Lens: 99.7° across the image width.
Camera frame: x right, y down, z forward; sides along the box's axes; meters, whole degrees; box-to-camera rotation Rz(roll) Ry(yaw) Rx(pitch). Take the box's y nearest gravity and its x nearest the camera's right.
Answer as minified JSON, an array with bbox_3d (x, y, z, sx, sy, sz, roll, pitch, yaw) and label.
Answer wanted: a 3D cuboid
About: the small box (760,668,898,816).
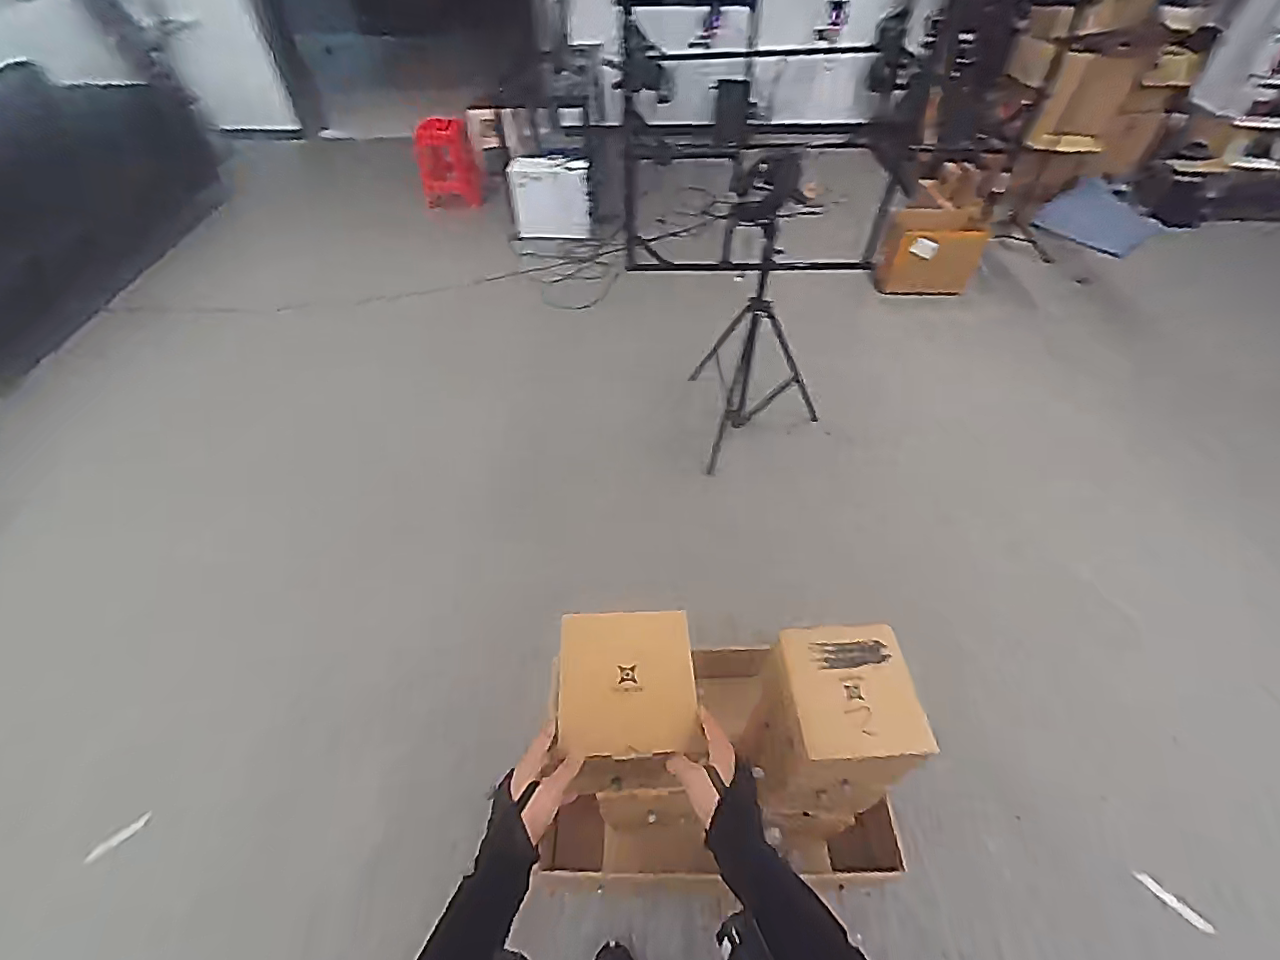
[{"bbox_3d":[0.300,0.438,0.904,0.168,0.176,0.179,2,48,3],"label":"small box"}]

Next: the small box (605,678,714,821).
[{"bbox_3d":[0.022,0.448,0.904,0.168,0.176,0.179,-3,49,-3],"label":"small box"}]

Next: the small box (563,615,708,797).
[{"bbox_3d":[-0.016,0.295,0.709,0.168,0.176,0.179,-1,50,-6],"label":"small box"}]
